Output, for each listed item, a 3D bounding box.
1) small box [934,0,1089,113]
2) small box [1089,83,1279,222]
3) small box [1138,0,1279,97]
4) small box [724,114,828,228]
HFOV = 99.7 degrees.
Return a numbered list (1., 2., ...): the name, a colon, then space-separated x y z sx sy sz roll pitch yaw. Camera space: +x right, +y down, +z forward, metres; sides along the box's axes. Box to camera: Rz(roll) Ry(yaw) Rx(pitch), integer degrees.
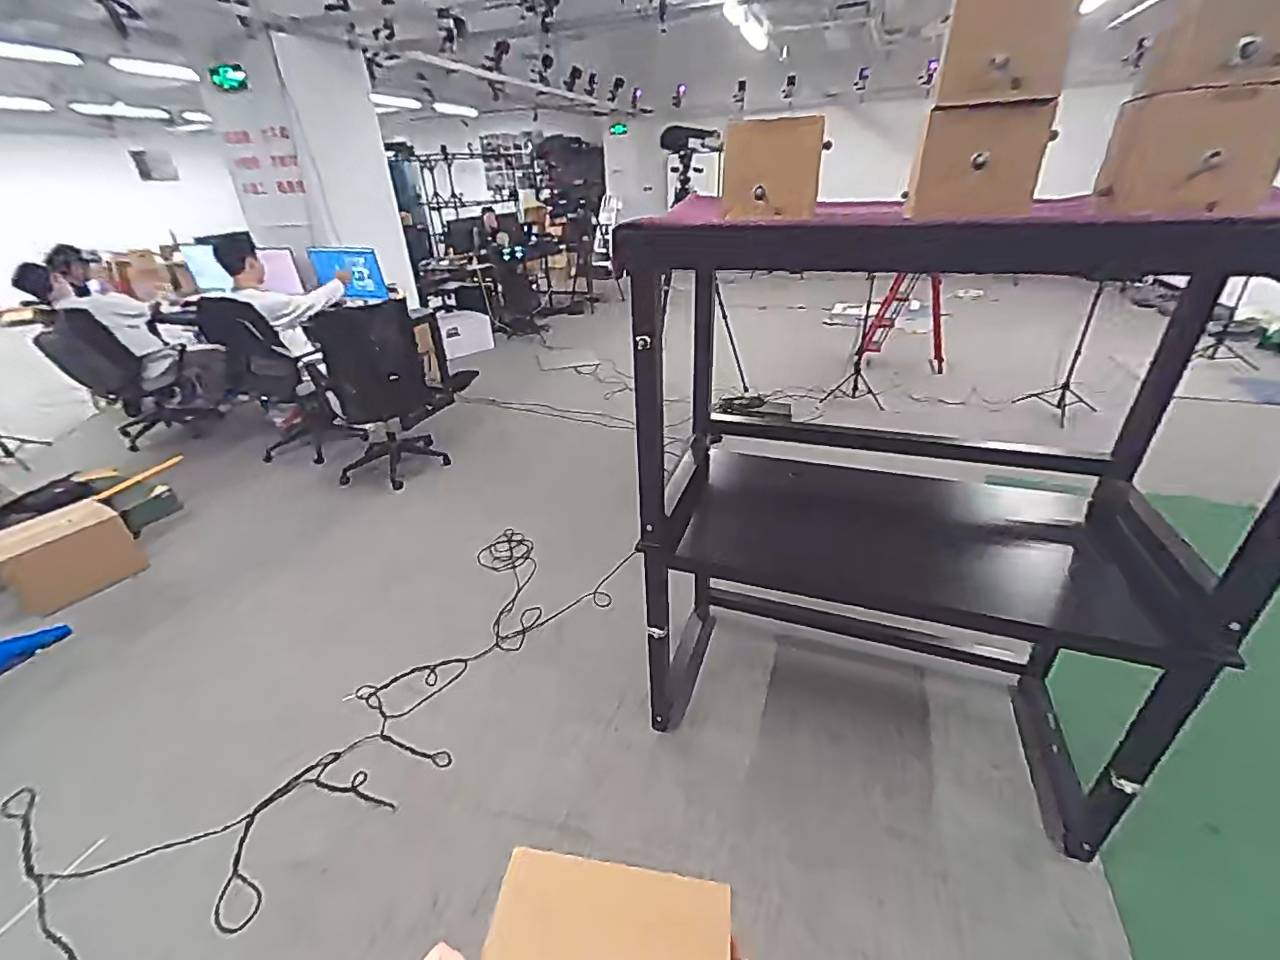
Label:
1. small box: 0.561 -0.673 0.831 0.168 0.176 0.179 10 32 22
2. small box: 0.837 -0.494 0.828 0.168 0.176 0.179 9 32 19
3. small box: 0.838 -0.634 0.744 0.168 0.176 0.179 9 32 22
4. small box: 0.252 -0.571 1.010 0.168 0.176 0.179 7 29 15
